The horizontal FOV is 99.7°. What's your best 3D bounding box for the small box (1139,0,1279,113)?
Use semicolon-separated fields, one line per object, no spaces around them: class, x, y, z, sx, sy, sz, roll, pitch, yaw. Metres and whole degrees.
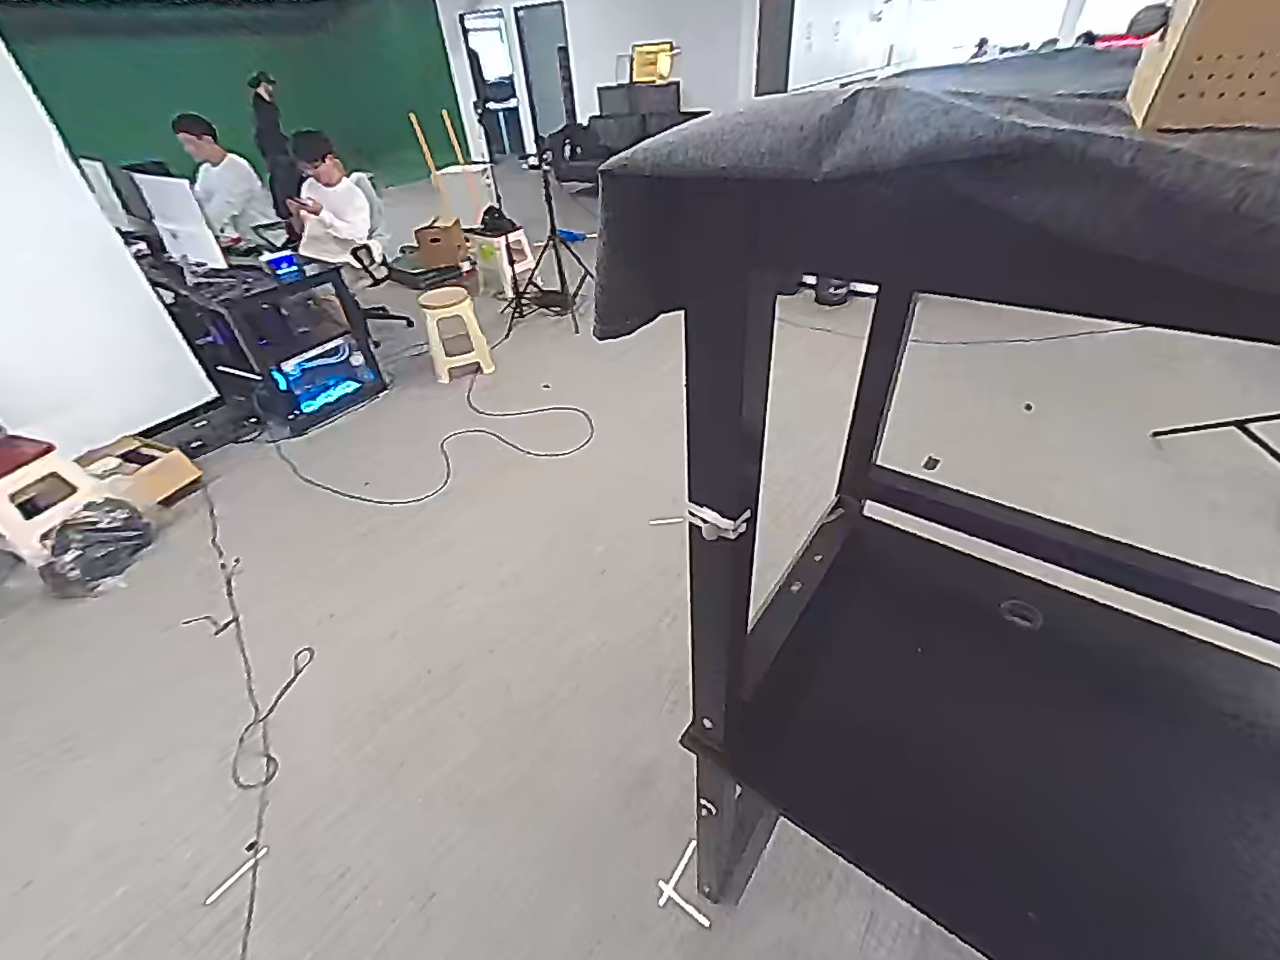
small box;0.339;-0.247;0.210;0.168;0.176;0.179;20;44;27
